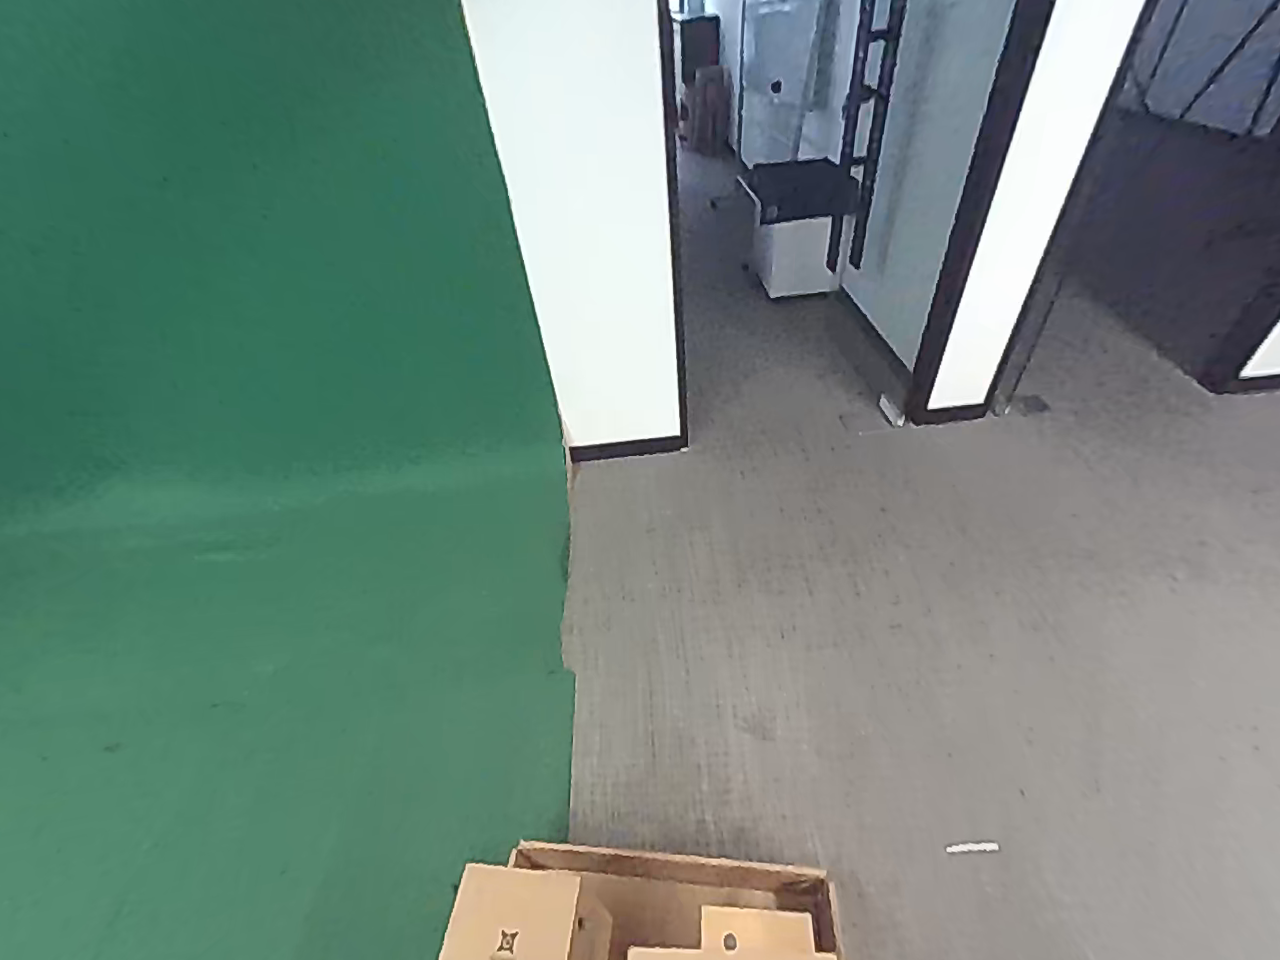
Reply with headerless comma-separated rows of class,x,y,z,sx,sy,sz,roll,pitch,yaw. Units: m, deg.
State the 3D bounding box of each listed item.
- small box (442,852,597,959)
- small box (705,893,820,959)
small box,-0.159,0.645,0.745,0.168,0.176,0.179,1,45,8
small box,0.182,0.756,0.820,0.168,0.176,0.179,-1,45,8
